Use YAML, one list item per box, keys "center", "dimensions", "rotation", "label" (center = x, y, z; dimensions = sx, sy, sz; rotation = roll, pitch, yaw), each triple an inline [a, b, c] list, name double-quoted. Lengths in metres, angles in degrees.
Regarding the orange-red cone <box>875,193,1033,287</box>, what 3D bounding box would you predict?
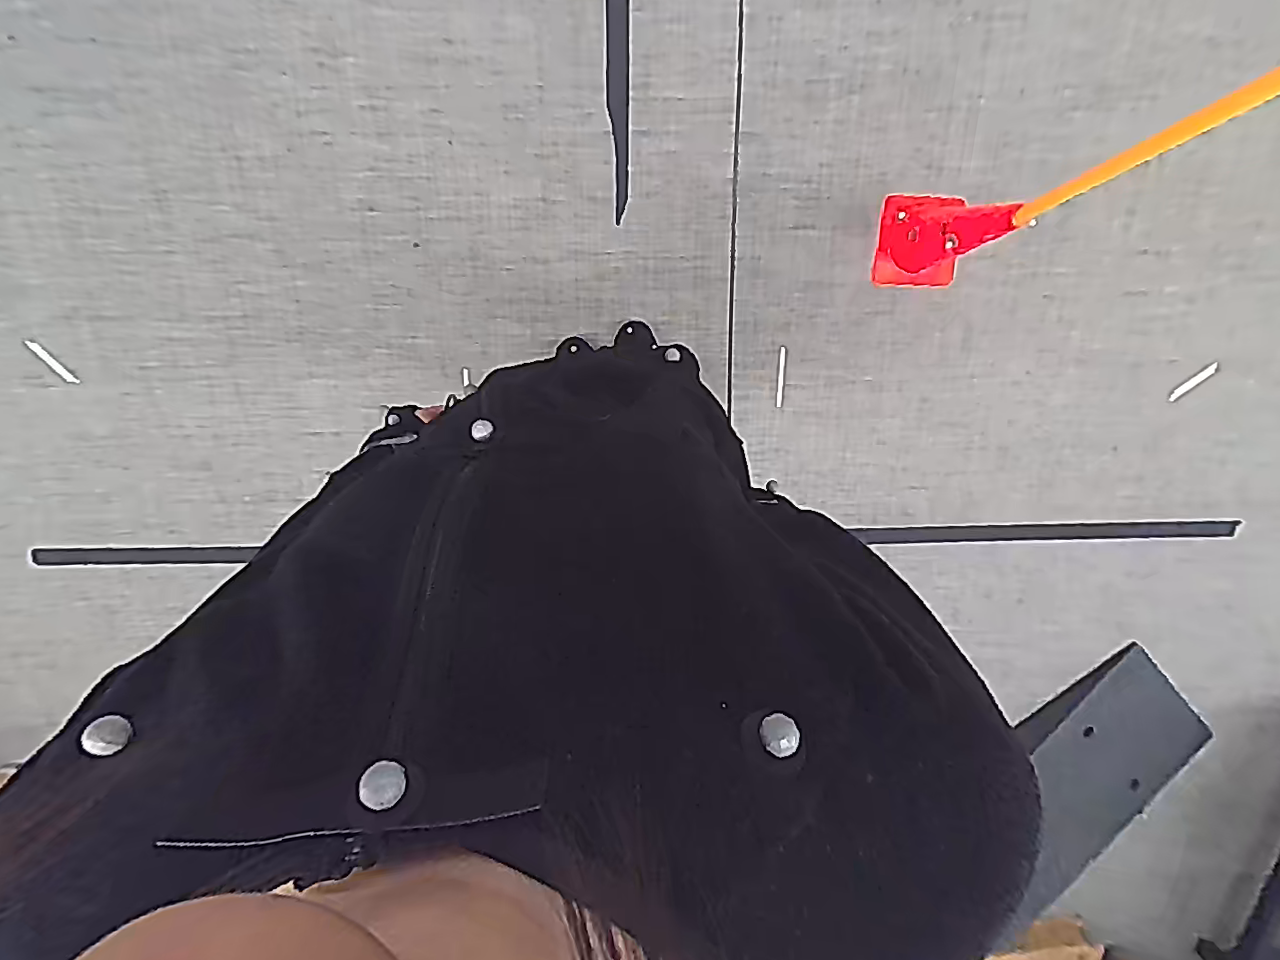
- center: [0.668, -0.515, 1.114]
  dimensions: [0.198, 0.360, 0.199]
  rotation: [3, 107, -2]
  label: "orange-red cone"
